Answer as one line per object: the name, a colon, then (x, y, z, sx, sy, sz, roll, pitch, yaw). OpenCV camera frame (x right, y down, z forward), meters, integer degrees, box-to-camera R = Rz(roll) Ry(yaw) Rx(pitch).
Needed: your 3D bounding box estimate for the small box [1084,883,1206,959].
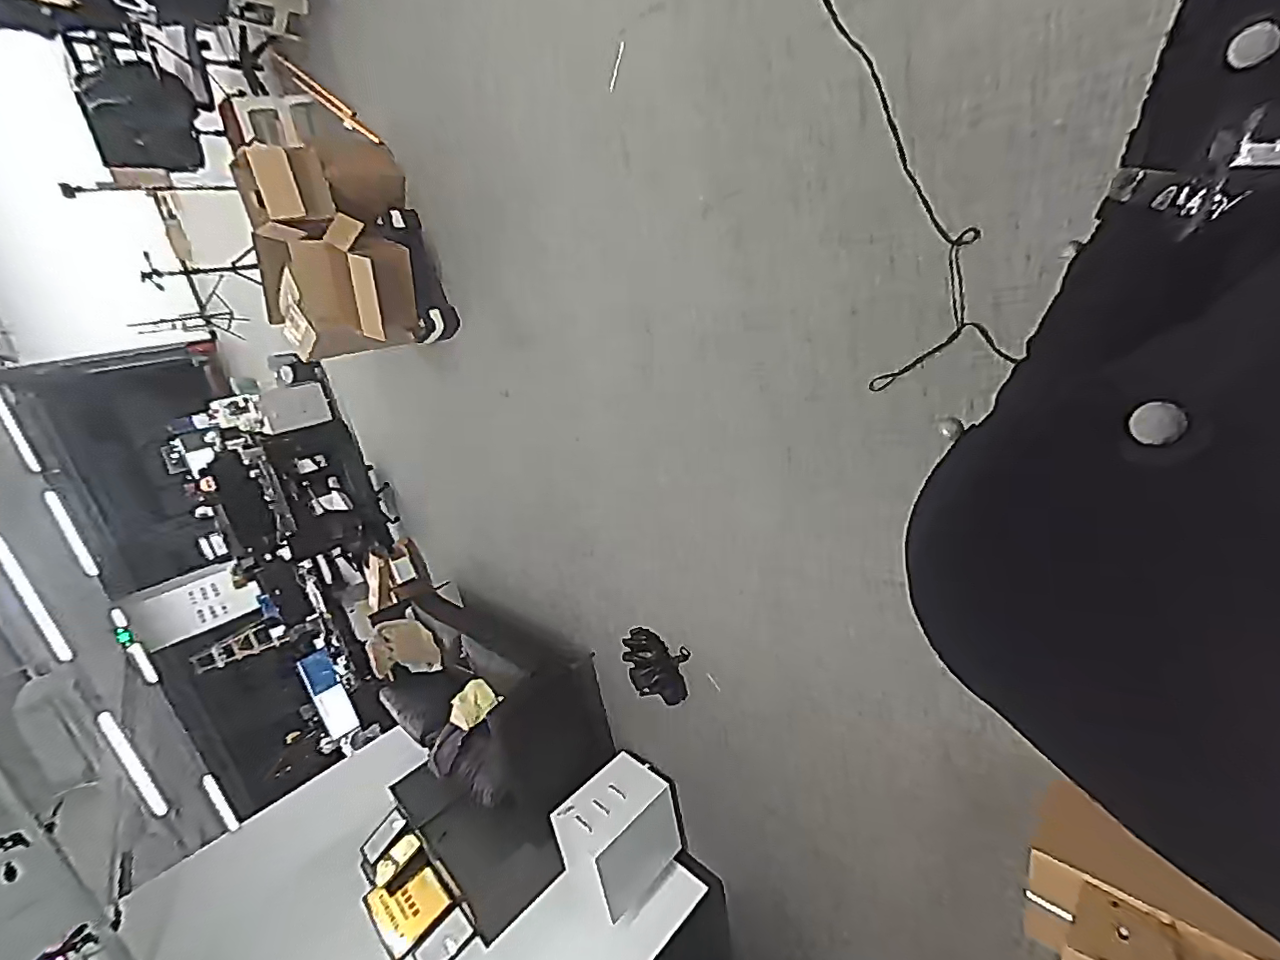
small box: (1.039, 1.002, 1.120, 0.168, 0.176, 0.179, 13, 119, 46)
